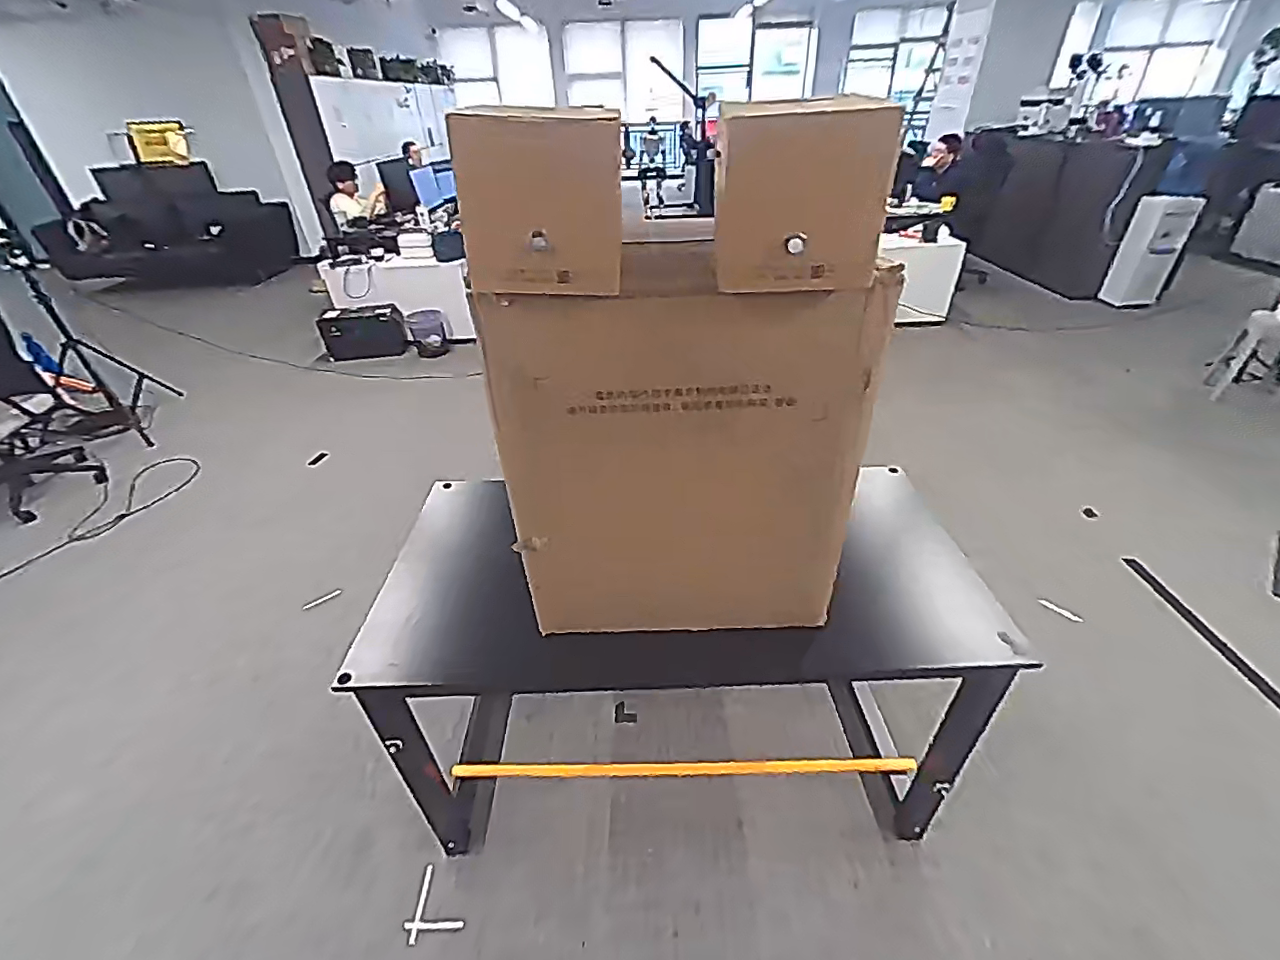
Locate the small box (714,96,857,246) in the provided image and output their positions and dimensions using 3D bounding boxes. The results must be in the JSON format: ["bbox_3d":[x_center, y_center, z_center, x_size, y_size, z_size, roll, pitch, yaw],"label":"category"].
[{"bbox_3d":[0.194,-0.441,0.778,0.168,0.176,0.179,-2,34,4],"label":"small box"}]
